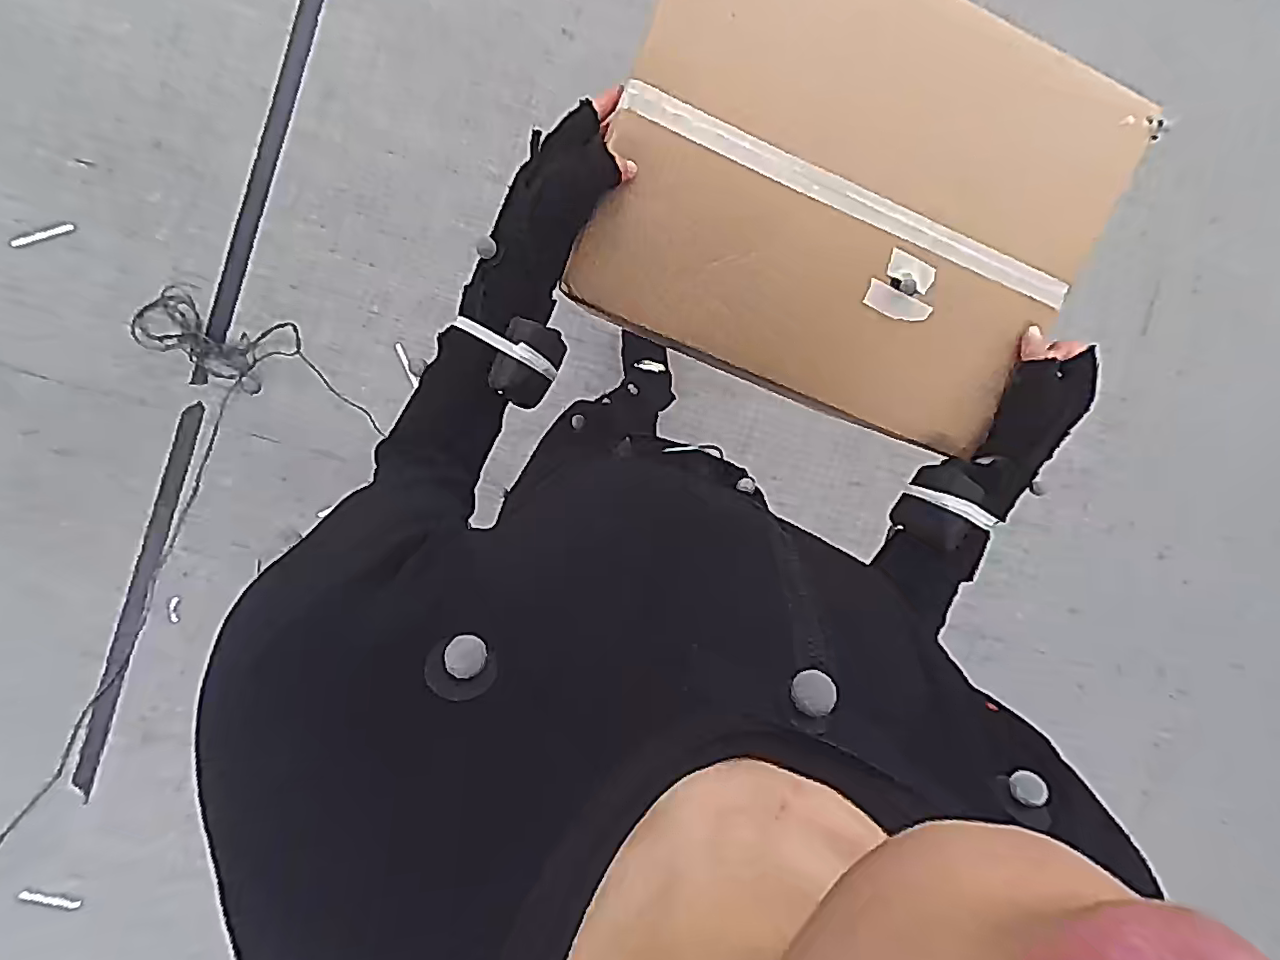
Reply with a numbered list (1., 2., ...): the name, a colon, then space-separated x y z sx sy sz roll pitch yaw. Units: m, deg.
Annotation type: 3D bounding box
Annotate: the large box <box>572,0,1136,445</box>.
1. large box: 0.168 -0.274 0.600 0.408 0.320 0.320 21 104 -8
